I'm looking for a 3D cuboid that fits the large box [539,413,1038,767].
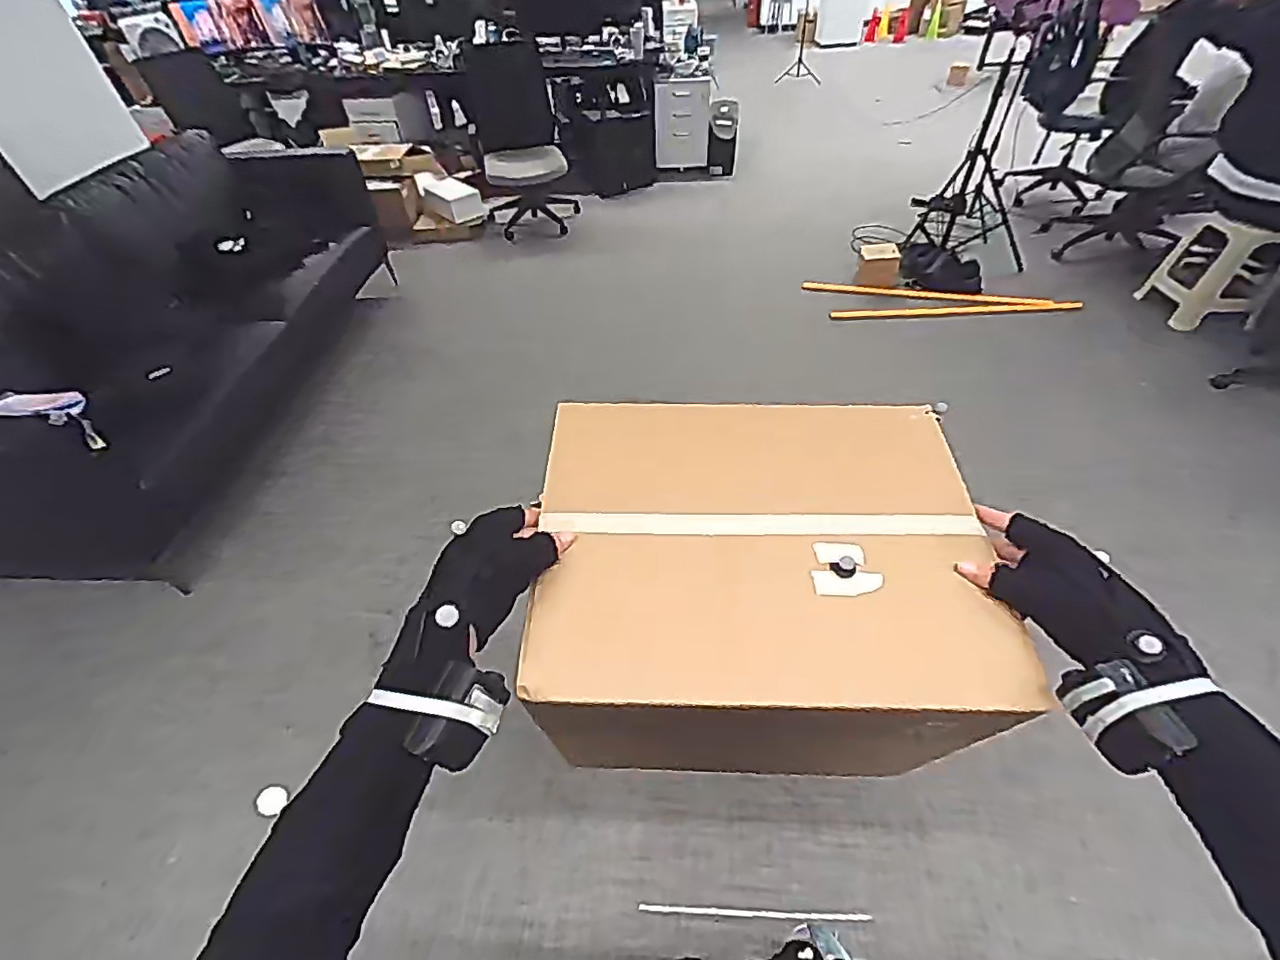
[{"bbox_3d":[0.116,0.137,0.631,0.408,0.320,0.320,1,54,1],"label":"large box"}]
